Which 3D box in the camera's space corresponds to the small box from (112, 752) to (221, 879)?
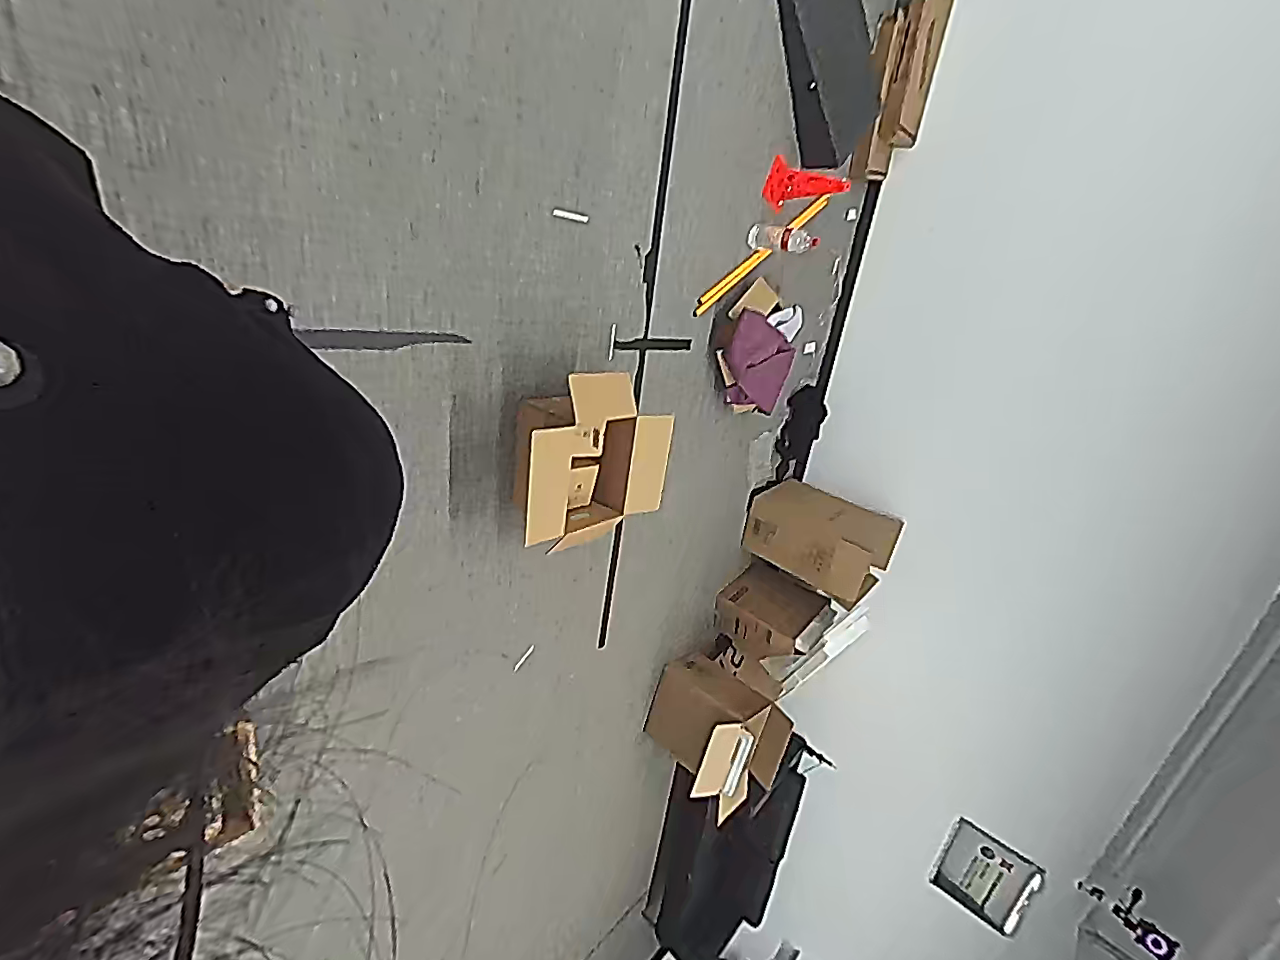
[{"bbox_3d":[-1.191,0.830,1.362,0.179,0.176,0.168,-11,116,-48],"label":"small box"}]
